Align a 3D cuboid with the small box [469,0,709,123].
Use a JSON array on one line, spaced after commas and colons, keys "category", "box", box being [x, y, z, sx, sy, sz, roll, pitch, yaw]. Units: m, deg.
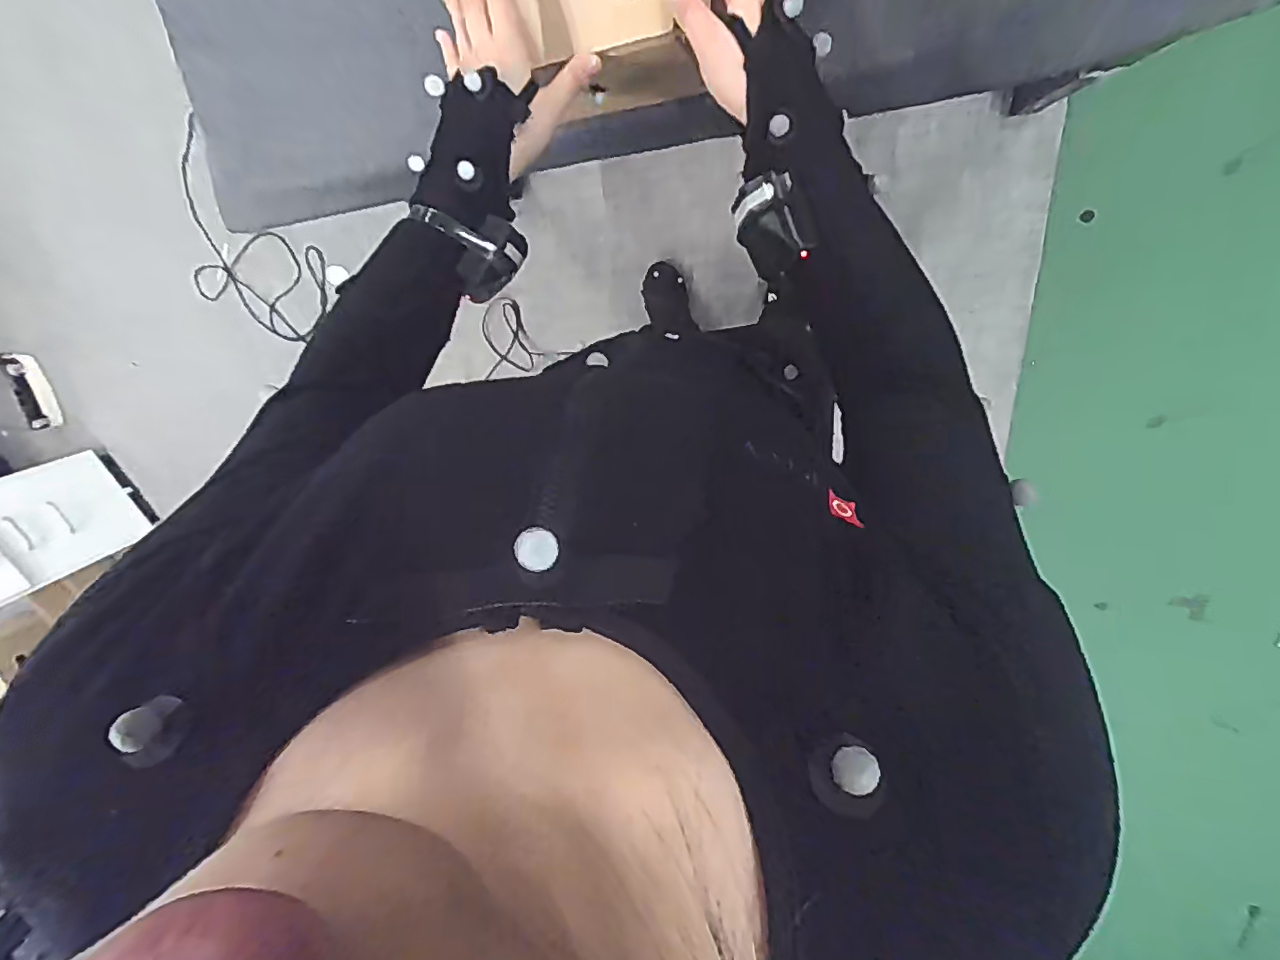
[{"category": "small box", "box": [-0.037, -0.438, 0.480, 0.179, 0.176, 0.168, 1, 114, 19]}]
